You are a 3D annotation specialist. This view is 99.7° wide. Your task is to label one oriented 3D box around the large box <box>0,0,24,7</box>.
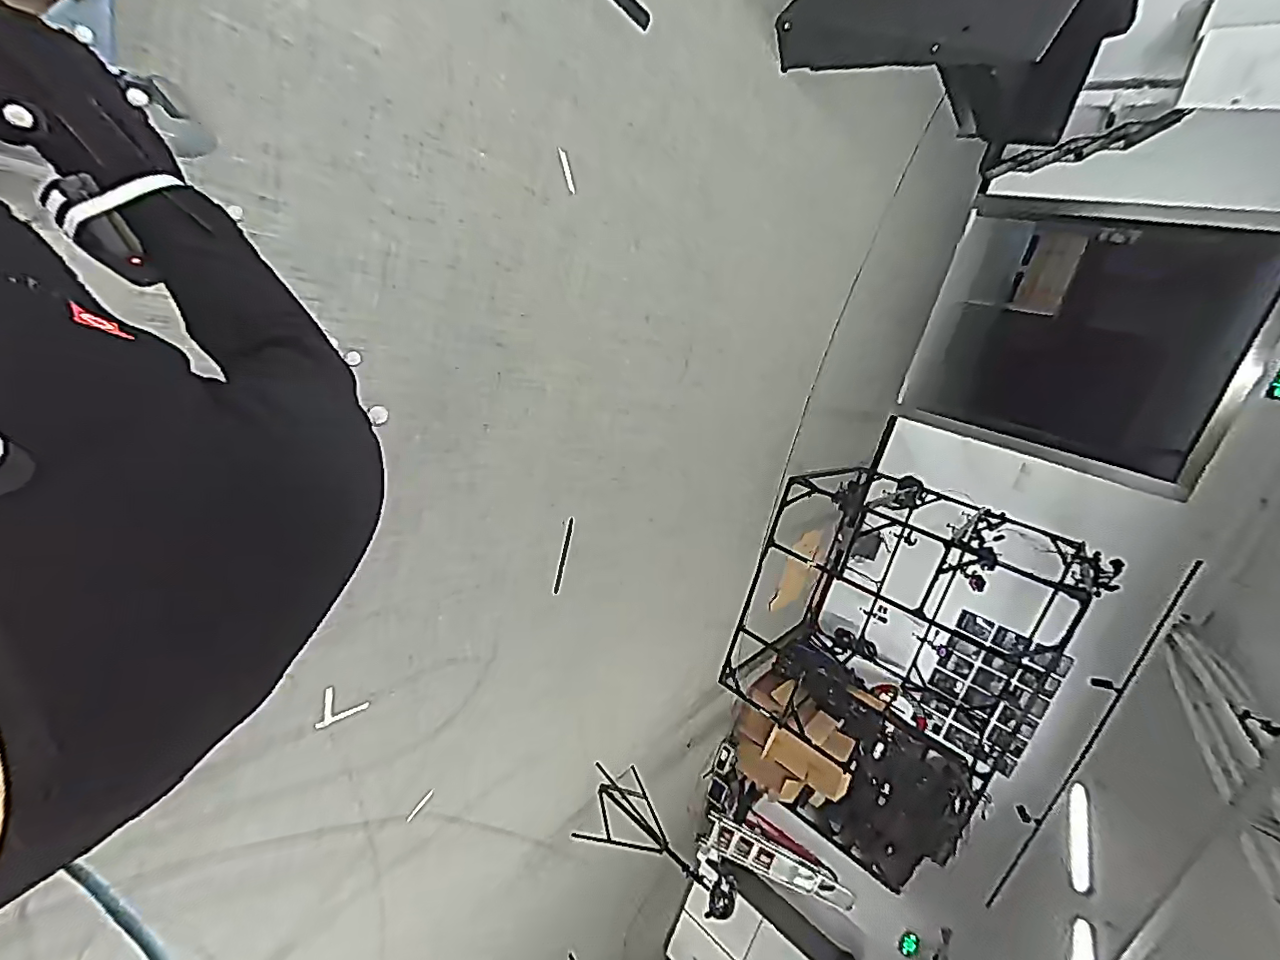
[{"bbox_3d":[-0.863,-0.724,0.486,0.408,0.320,0.320,-14,123,-52],"label":"large box"}]
